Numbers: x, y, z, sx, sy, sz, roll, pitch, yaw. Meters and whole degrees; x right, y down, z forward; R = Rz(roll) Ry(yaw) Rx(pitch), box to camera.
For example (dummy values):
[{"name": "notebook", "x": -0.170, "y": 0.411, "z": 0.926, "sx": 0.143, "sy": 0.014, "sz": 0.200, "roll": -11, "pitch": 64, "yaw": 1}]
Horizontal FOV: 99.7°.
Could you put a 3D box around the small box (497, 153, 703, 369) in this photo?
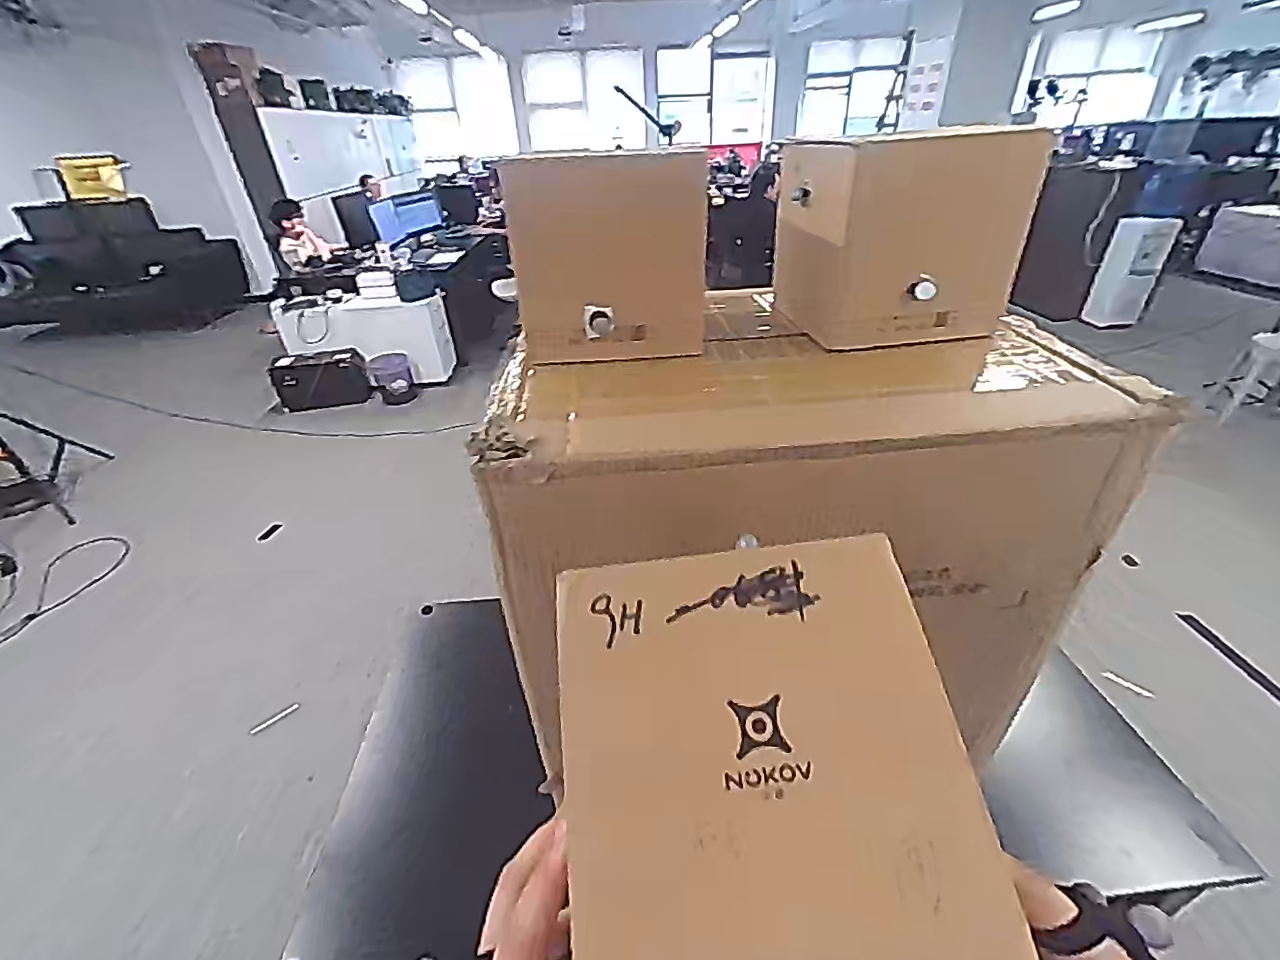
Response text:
[{"name": "small box", "x": -0.036, "y": -0.221, "z": 0.536, "sx": 0.168, "sy": 0.176, "sz": 0.179, "roll": -6, "pitch": 33, "yaw": -4}]

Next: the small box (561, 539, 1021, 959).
[{"name": "small box", "x": 0.054, "y": 0.150, "z": 0.303, "sx": 0.168, "sy": 0.176, "sz": 0.179, "roll": -7, "pitch": 63, "yaw": -1}]

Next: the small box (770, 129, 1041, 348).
[{"name": "small box", "x": 0.235, "y": -0.241, "z": 0.537, "sx": 0.168, "sy": 0.176, "sz": 0.179, "roll": -7, "pitch": 33, "yaw": -3}]
